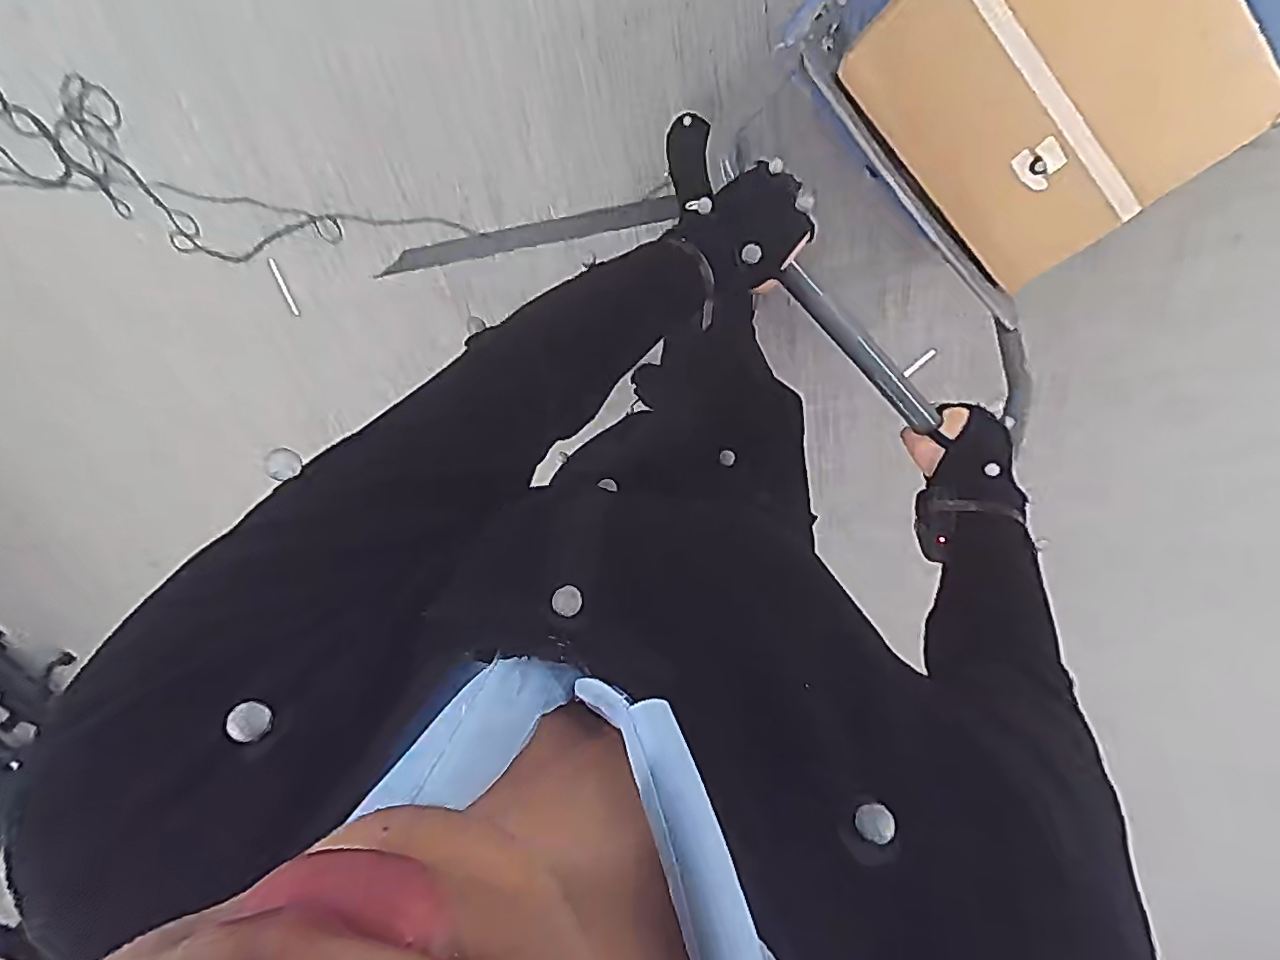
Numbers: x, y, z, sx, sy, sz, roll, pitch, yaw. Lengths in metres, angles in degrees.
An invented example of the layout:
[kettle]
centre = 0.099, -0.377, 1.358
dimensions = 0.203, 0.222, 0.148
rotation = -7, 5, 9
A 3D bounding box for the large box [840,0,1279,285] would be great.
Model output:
[large box]
centre = 0.542, -0.577, 0.772
dimensions = 0.408, 0.320, 0.320
rotation = 40, 134, -15
